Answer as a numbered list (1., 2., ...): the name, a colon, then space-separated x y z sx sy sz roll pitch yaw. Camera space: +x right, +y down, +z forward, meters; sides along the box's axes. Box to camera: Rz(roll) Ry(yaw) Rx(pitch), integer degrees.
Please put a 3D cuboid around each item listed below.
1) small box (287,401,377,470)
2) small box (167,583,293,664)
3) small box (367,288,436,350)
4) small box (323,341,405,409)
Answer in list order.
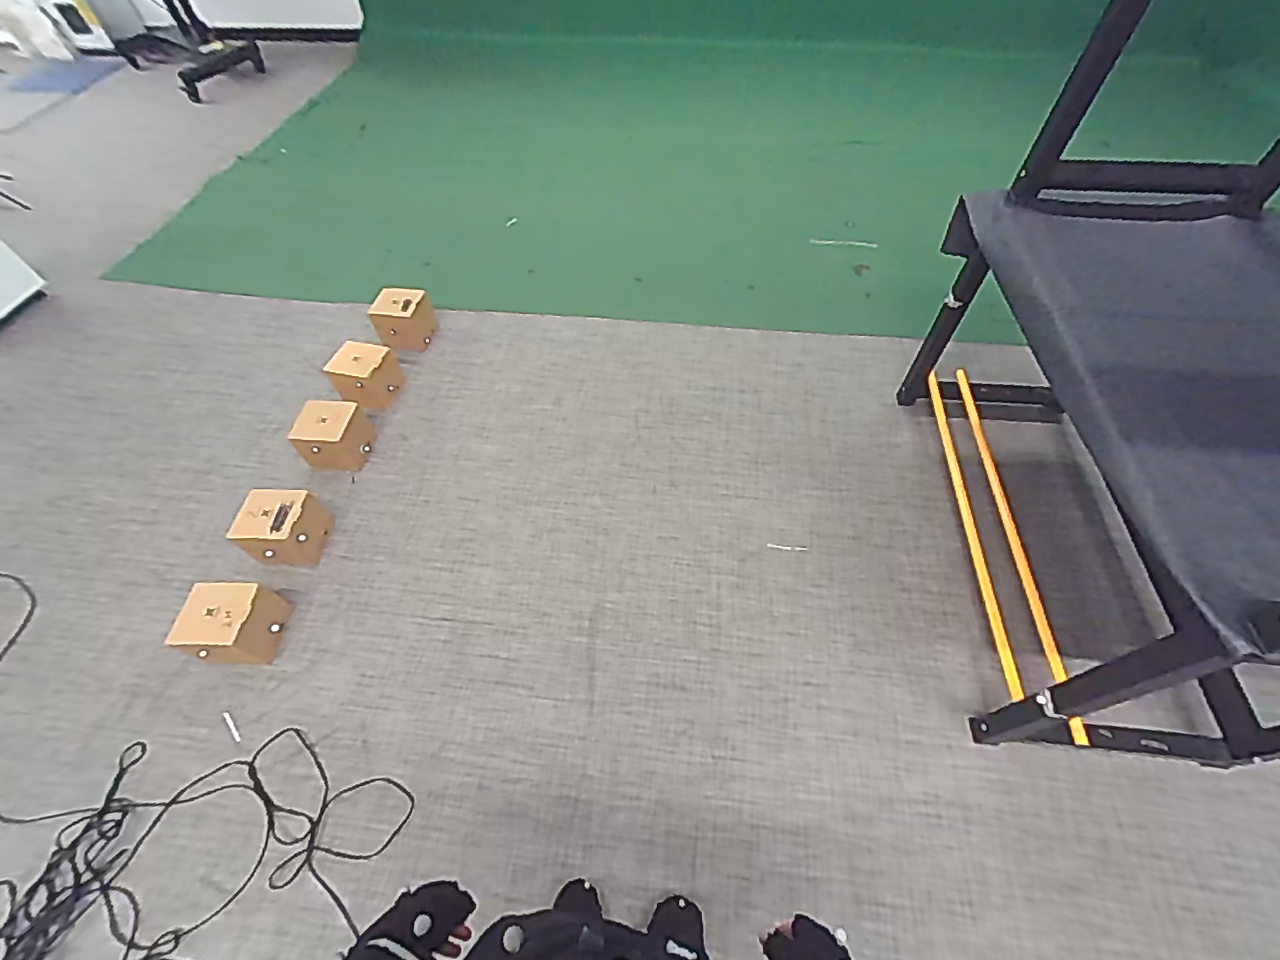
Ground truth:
1. small box: -1.019 -0.146 1.805 0.179 0.176 0.168 4 57 2
2. small box: -1.075 0.383 1.435 0.179 0.176 0.168 0 56 1
3. small box: -0.939 -0.636 2.148 0.179 0.176 0.168 6 55 6
4. small box: -0.997 -0.378 1.969 0.179 0.176 0.168 11 56 8
